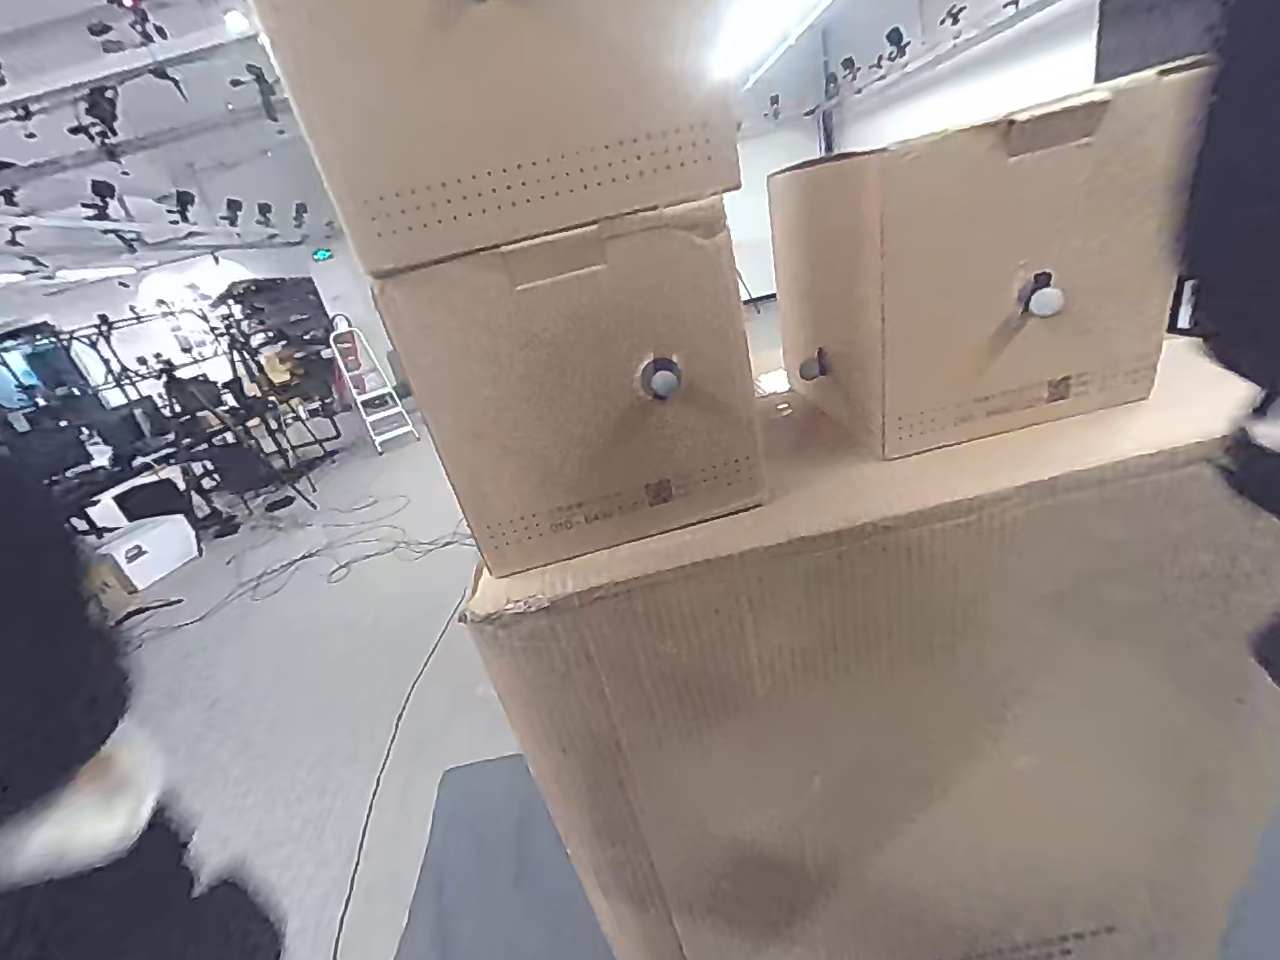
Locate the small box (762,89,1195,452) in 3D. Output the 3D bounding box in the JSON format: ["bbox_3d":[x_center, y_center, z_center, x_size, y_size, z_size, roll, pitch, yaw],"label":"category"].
[{"bbox_3d":[0.195,-0.130,0.367,0.168,0.176,0.179,-13,27,0],"label":"small box"}]

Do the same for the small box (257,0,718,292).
[{"bbox_3d":[-0.068,-0.207,0.276,0.179,0.176,0.168,-16,28,-10],"label":"small box"}]
